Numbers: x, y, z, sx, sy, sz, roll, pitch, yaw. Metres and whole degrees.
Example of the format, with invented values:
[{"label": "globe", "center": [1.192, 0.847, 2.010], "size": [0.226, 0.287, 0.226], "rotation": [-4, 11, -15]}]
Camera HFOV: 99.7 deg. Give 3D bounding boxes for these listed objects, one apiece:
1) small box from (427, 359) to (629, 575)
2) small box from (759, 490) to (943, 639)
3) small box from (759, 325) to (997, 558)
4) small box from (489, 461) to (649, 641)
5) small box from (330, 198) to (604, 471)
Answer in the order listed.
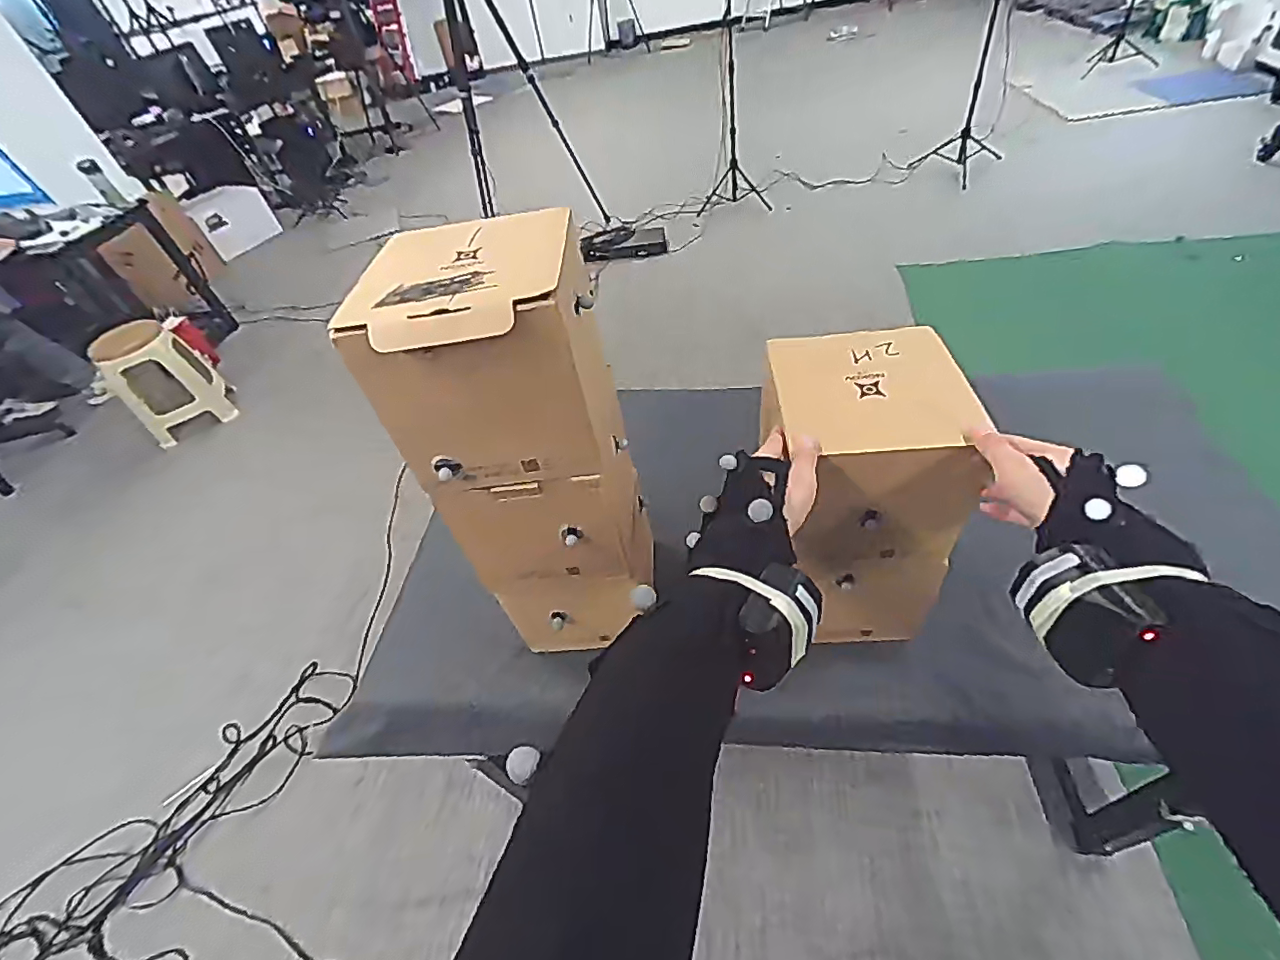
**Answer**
[{"label": "small box", "center": [-0.104, -0.008, 0.597], "size": [0.168, 0.176, 0.179], "rotation": [-5, 45, 5]}, {"label": "small box", "center": [0.241, 0.079, 0.672], "size": [0.168, 0.176, 0.179], "rotation": [-4, 47, 7]}, {"label": "small box", "center": [0.216, -0.033, 0.550], "size": [0.168, 0.176, 0.179], "rotation": [-2, 47, 5]}, {"label": "small box", "center": [-0.079, 0.100, 0.715], "size": [0.168, 0.176, 0.179], "rotation": [-5, 46, 6]}, {"label": "small box", "center": [-0.126, -0.121, 0.479], "size": [0.168, 0.176, 0.179], "rotation": [-6, 45, 4]}]
